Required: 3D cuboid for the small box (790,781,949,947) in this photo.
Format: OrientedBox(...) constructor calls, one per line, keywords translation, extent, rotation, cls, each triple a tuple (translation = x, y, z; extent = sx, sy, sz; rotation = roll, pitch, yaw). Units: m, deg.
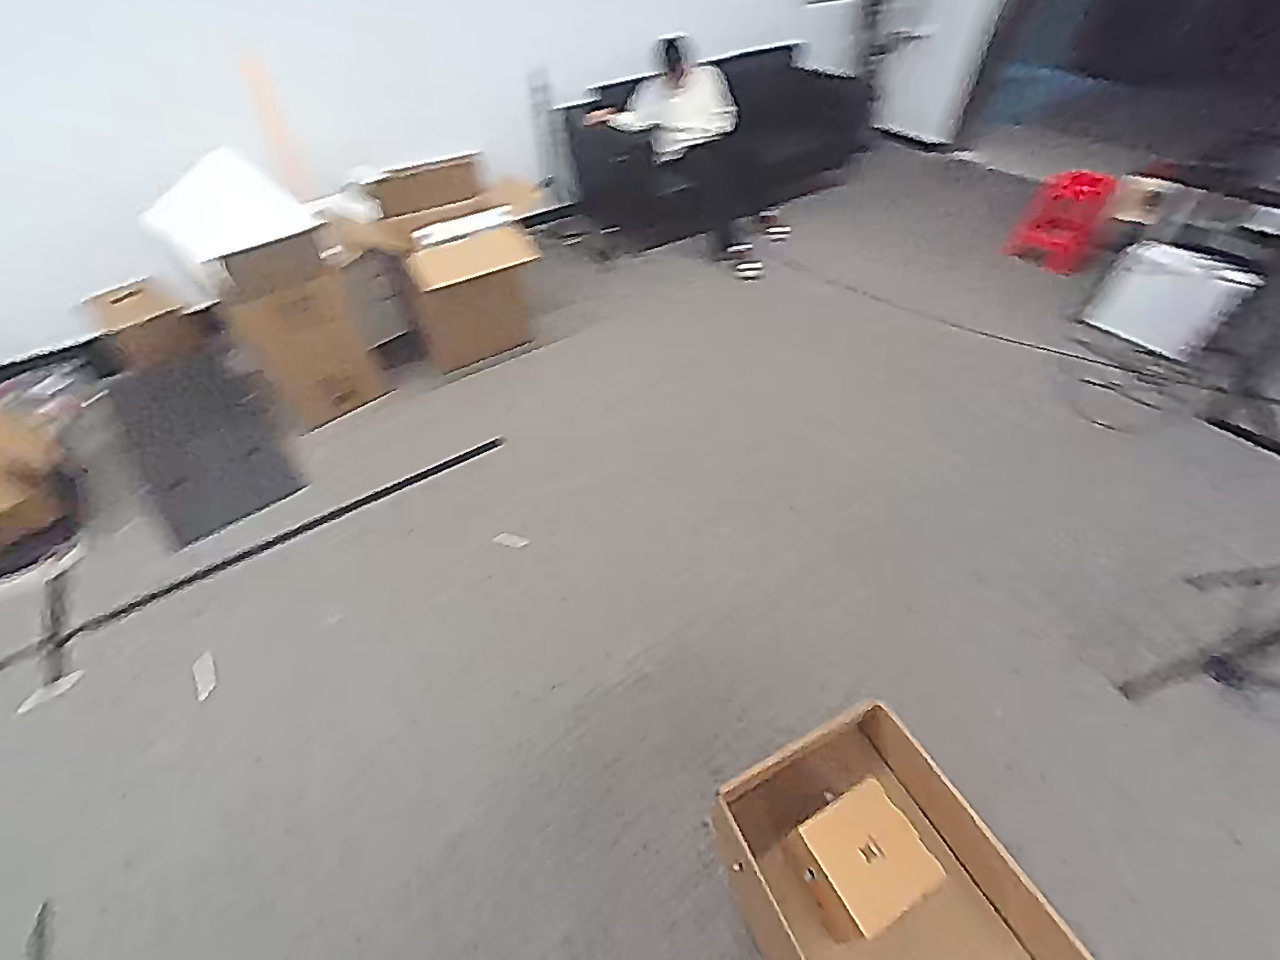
OrientedBox(translation=(0.378, 0.664, 0.933), extent=(0.179, 0.176, 0.168), rotation=(-20, 50, -19), cls="small box")
